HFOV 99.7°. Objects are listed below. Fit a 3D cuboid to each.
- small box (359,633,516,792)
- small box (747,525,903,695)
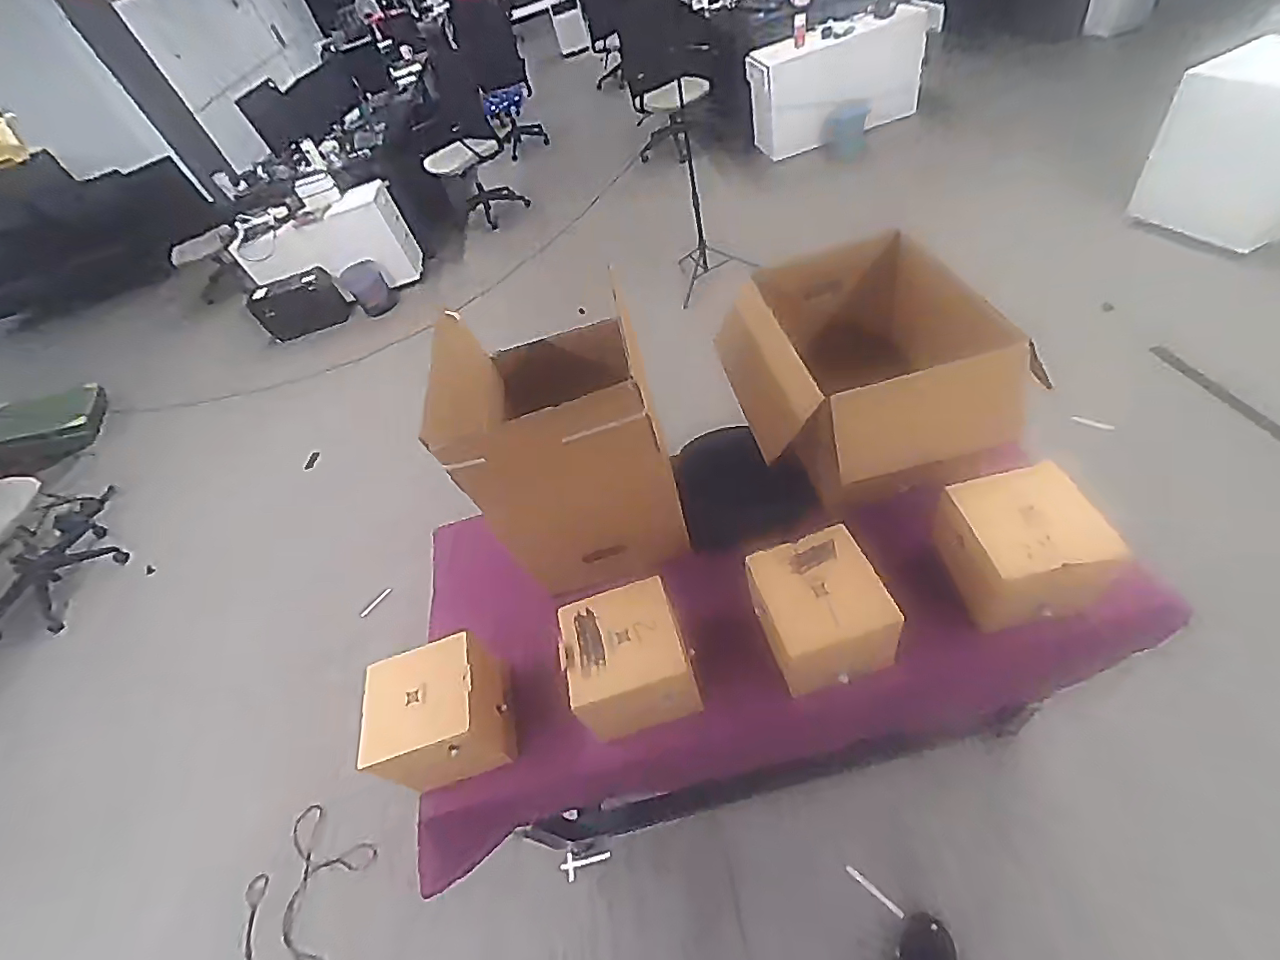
[{"bbox_3d":[-0.322,0.385,0.886,0.179,0.176,0.168,-19,47,-1],"label":"small box"},{"bbox_3d":[0.279,0.205,0.845,0.168,0.176,0.179,-20,48,2],"label":"small box"}]
